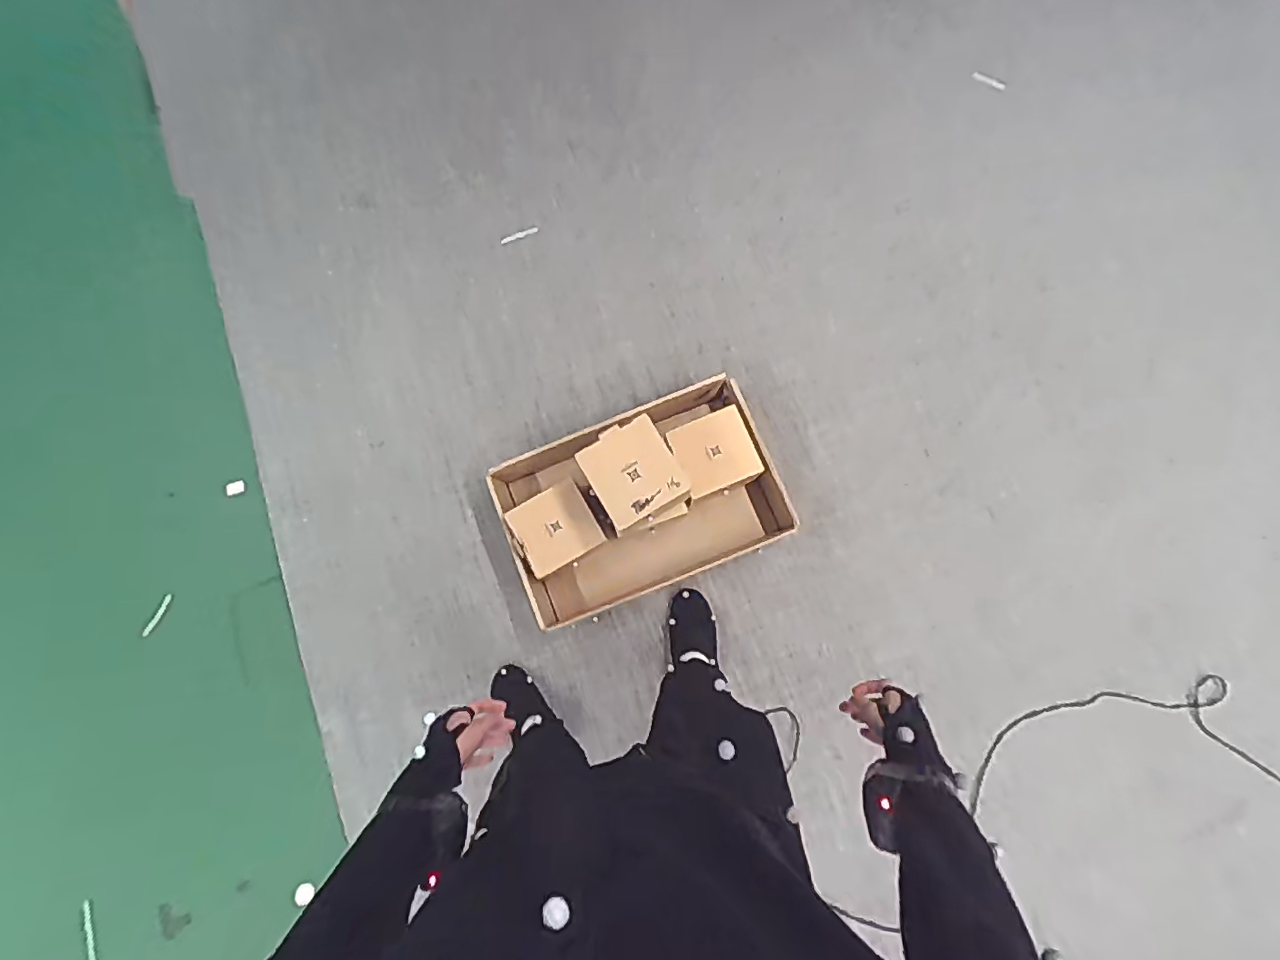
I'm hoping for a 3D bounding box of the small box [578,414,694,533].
[{"bbox_3d":[-0.006,-0.004,1.113,0.168,0.176,0.179,-31,81,-2],"label":"small box"}]
